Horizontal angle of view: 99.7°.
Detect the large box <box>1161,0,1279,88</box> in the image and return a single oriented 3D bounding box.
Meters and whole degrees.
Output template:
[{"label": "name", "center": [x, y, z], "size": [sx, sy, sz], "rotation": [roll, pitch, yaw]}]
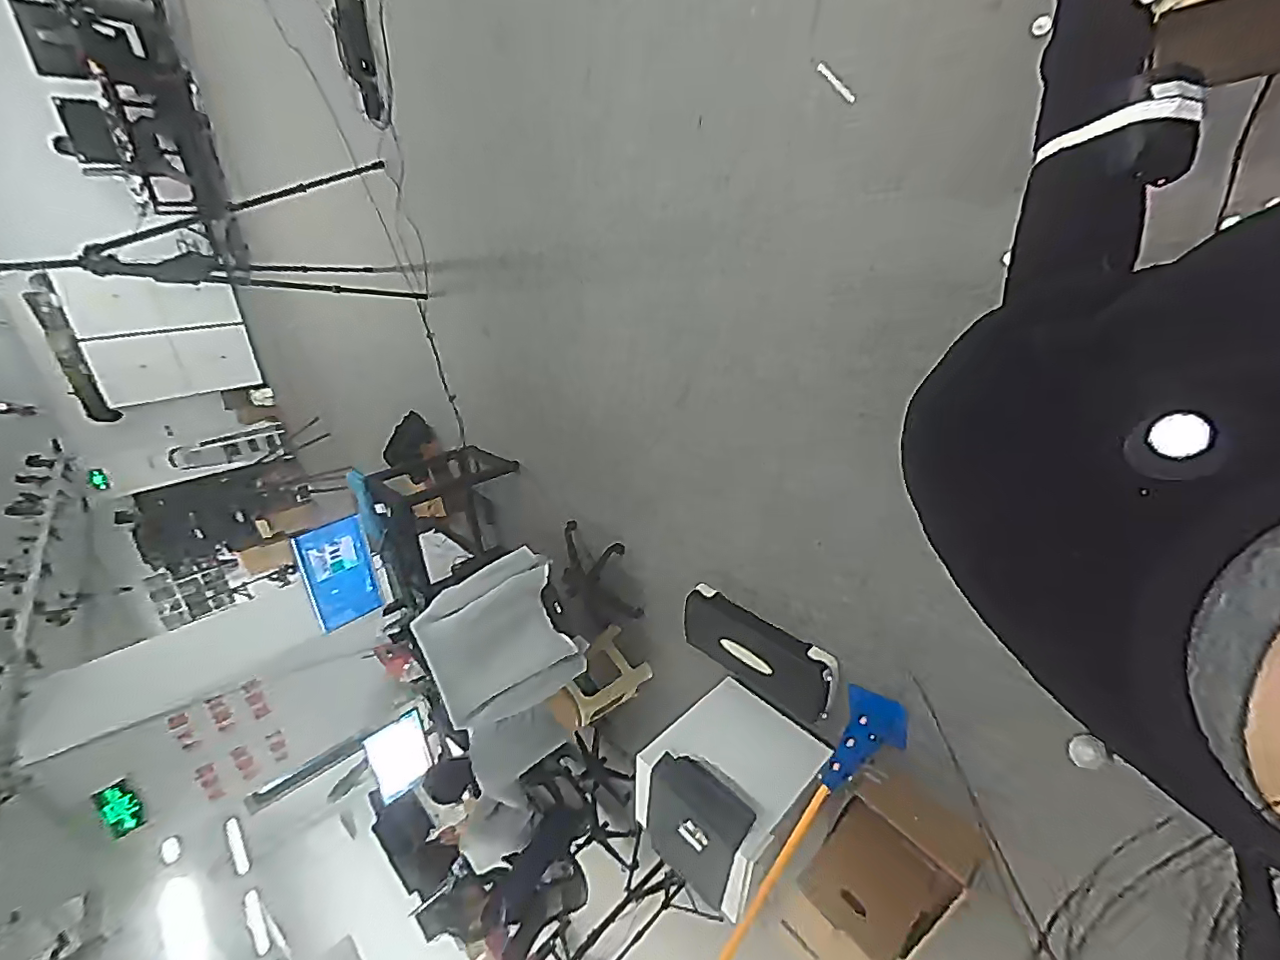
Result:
[{"label": "large box", "center": [0.571, -0.463, 0.274], "size": [0.408, 0.320, 0.320], "rotation": [11, 115, 41]}]
